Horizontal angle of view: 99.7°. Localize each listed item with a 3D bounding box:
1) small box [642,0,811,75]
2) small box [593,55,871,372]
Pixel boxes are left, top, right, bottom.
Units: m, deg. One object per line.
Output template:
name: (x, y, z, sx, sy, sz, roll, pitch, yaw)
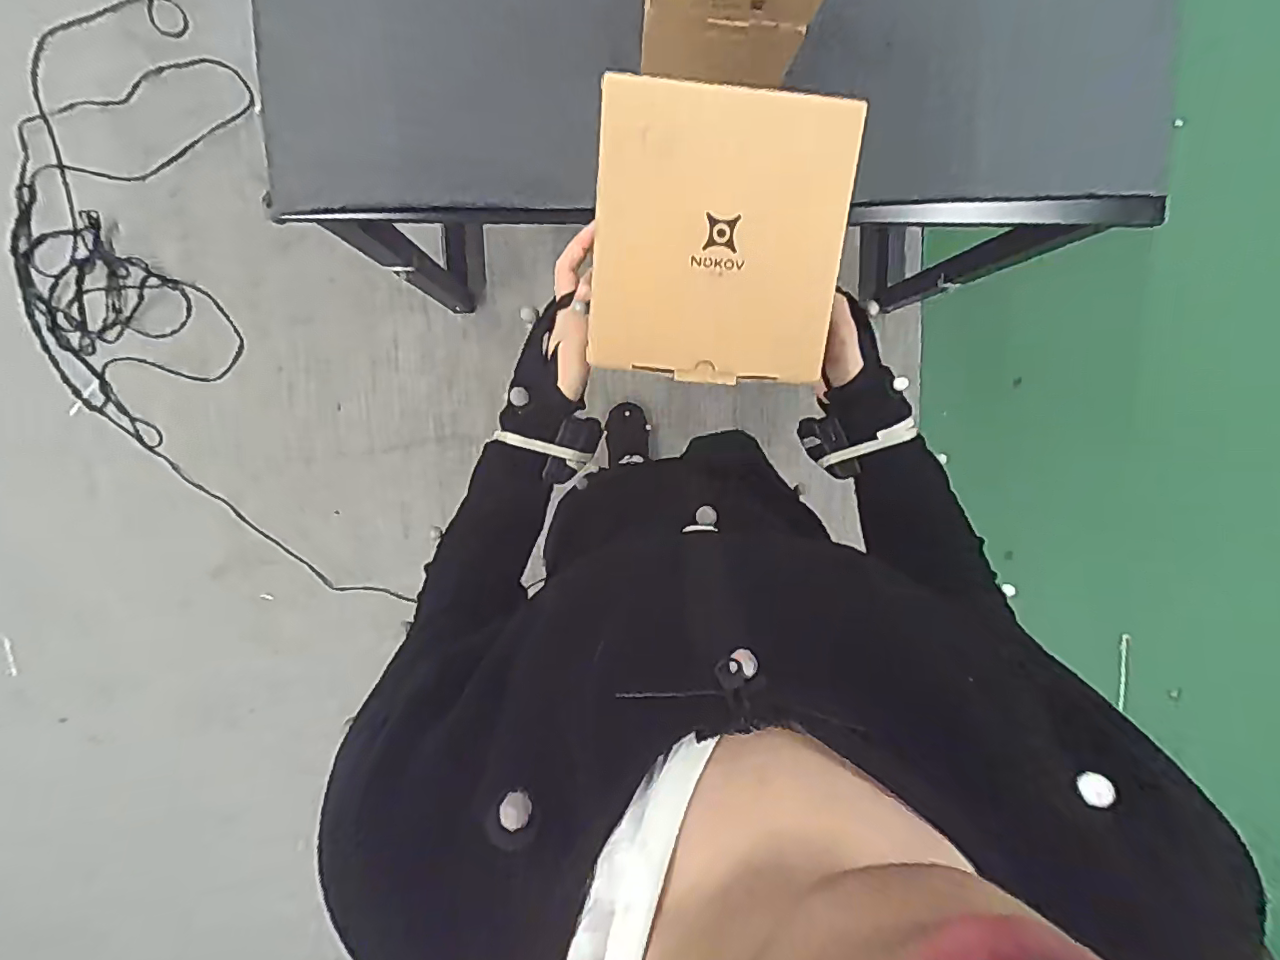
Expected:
small box: (0.091, -0.558, 0.612, 0.168, 0.176, 0.179, 3, 96, -3)
small box: (0.051, -0.183, 0.423, 0.168, 0.176, 0.179, 3, 105, -3)
